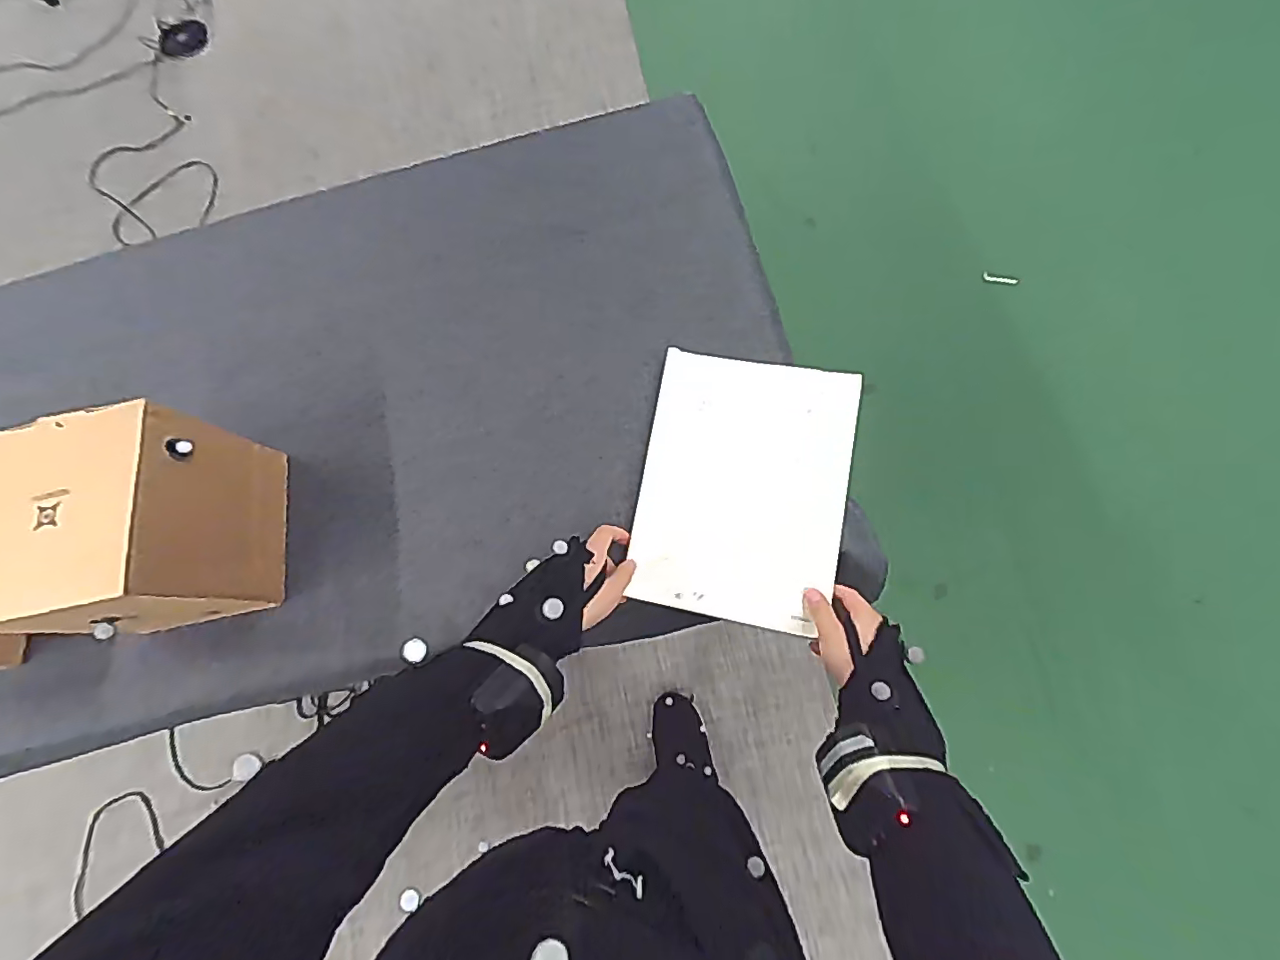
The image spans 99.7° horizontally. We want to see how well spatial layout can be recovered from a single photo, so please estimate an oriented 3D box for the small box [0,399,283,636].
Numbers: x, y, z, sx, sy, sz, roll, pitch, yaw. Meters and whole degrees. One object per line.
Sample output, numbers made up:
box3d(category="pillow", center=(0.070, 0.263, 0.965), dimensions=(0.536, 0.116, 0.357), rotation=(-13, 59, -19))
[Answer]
box3d(category="small box", center=(-0.480, 0.049, 0.520), dimensions=(0.168, 0.176, 0.179), rotation=(-12, 72, 5))
